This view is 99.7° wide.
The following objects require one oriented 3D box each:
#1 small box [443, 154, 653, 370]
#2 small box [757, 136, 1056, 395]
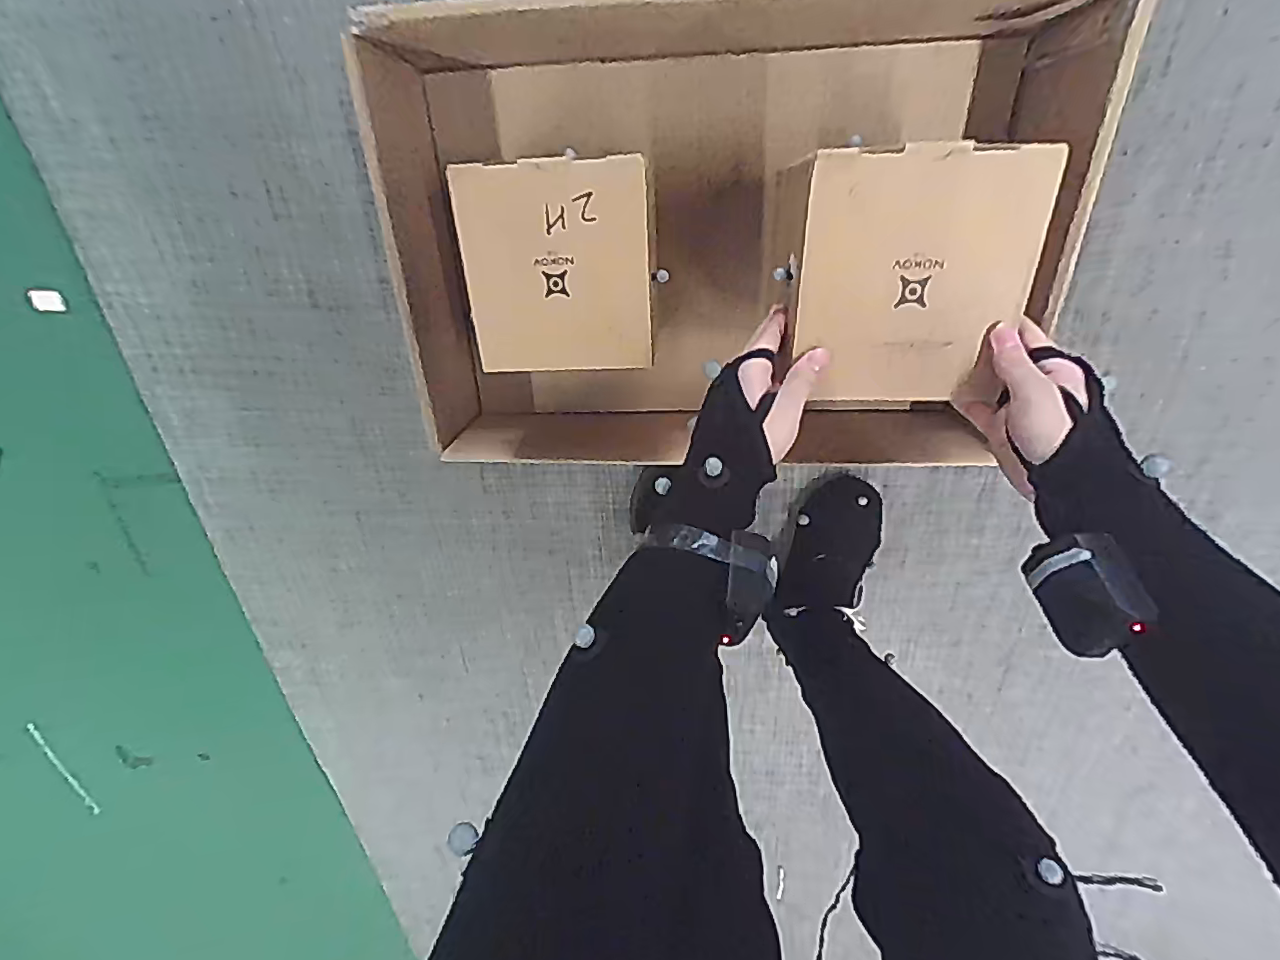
[{"bbox_3d":[-0.073,-0.219,0.545,0.168,0.176,0.179,0,116,4],"label":"small box"},{"bbox_3d":[0.198,-0.182,0.467,0.168,0.176,0.179,1,116,4],"label":"small box"}]
